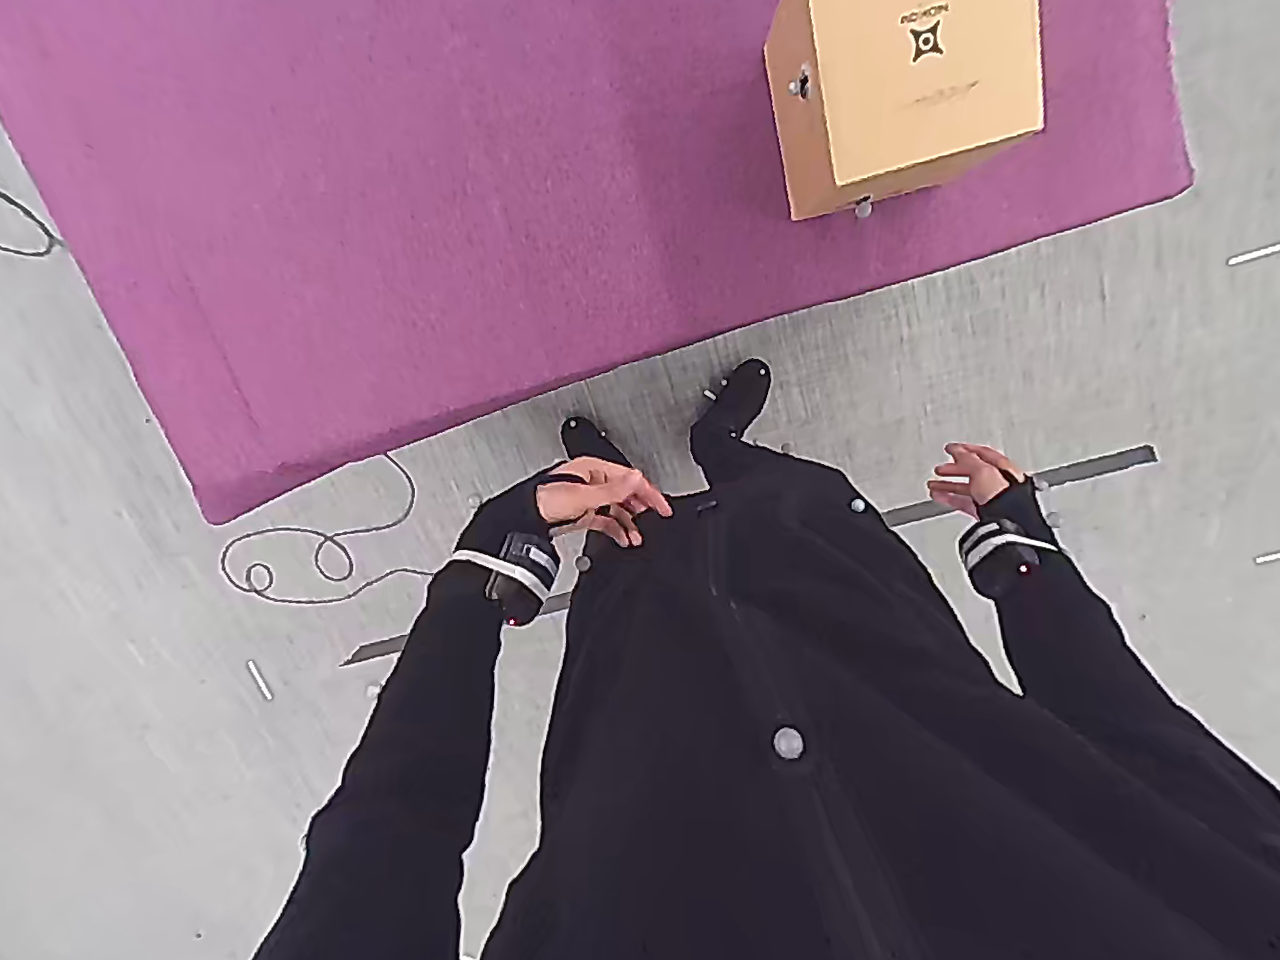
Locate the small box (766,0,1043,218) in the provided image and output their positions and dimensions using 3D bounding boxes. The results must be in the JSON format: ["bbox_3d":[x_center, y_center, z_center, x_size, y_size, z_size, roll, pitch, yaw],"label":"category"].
[{"bbox_3d":[0.219,-0.361,0.486,0.168,0.176,0.179,-12,104,6],"label":"small box"}]
